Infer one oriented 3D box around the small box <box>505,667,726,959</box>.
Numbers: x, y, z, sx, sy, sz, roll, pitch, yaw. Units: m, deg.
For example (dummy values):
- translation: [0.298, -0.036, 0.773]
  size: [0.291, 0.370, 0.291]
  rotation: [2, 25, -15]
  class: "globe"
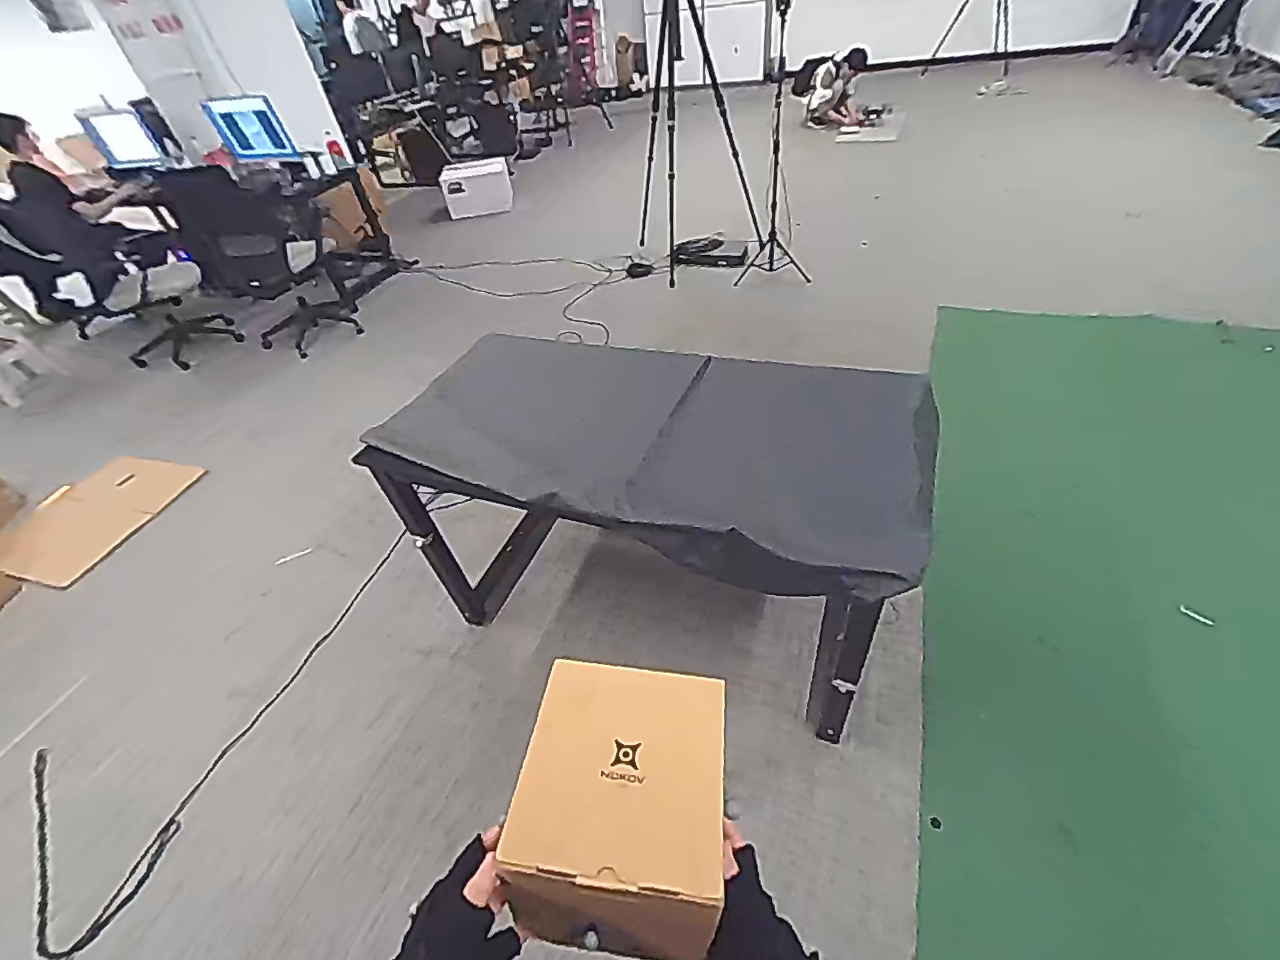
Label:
- translation: [-0.013, 0.308, 0.506]
  size: [0.168, 0.176, 0.179]
  rotation: [6, 38, 5]
  class: "small box"
